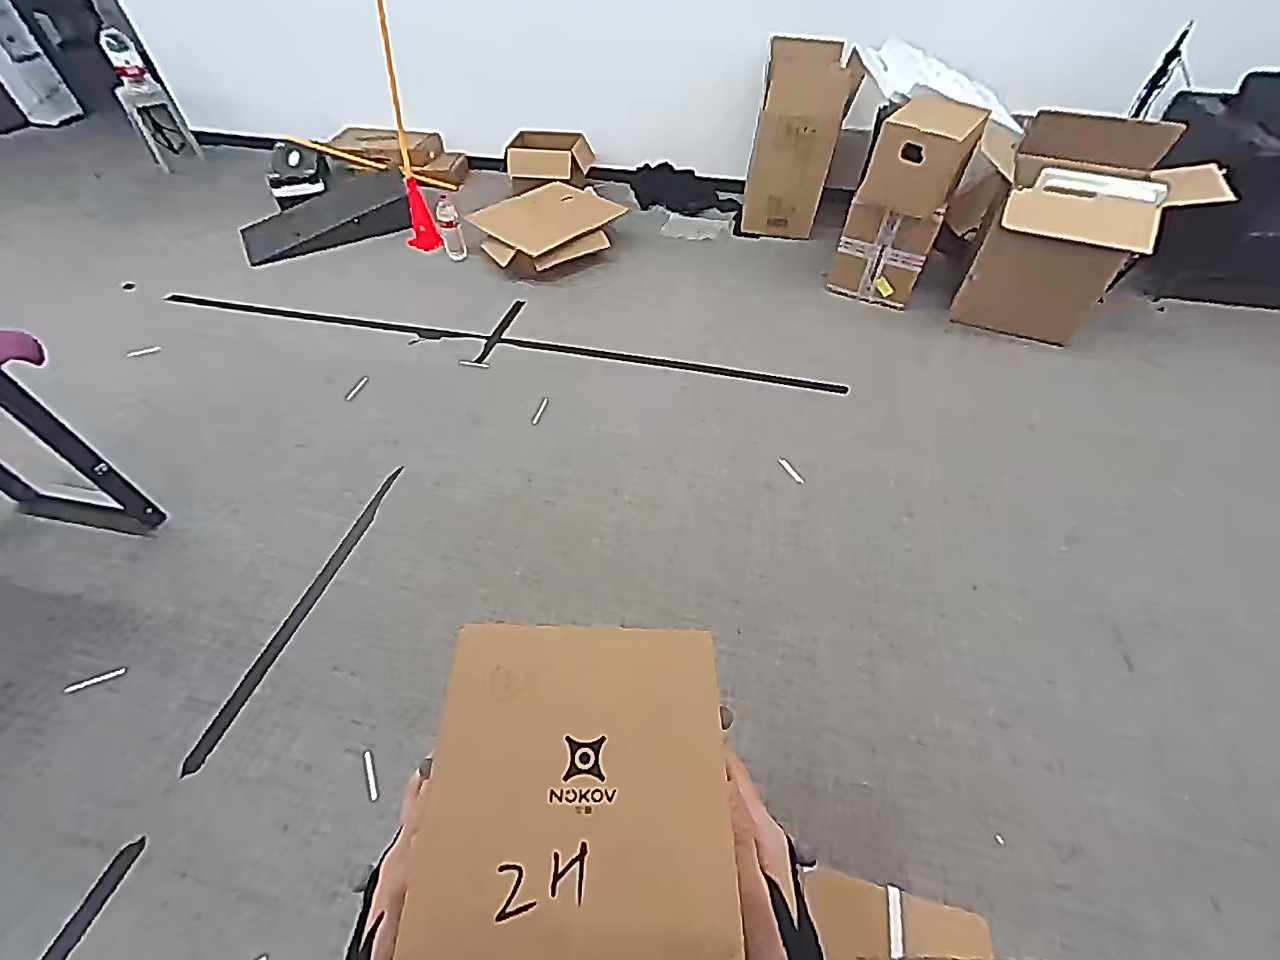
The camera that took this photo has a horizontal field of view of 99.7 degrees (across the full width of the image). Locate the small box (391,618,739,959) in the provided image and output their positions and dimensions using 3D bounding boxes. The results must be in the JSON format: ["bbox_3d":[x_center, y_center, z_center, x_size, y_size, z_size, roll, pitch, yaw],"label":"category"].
[{"bbox_3d":[-0.042,0.212,0.365,0.168,0.176,0.179,3,51,-5],"label":"small box"}]

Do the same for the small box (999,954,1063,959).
[{"bbox_3d":[0.366,0.483,0.397,0.179,0.176,0.168,11,50,10],"label":"small box"}]
